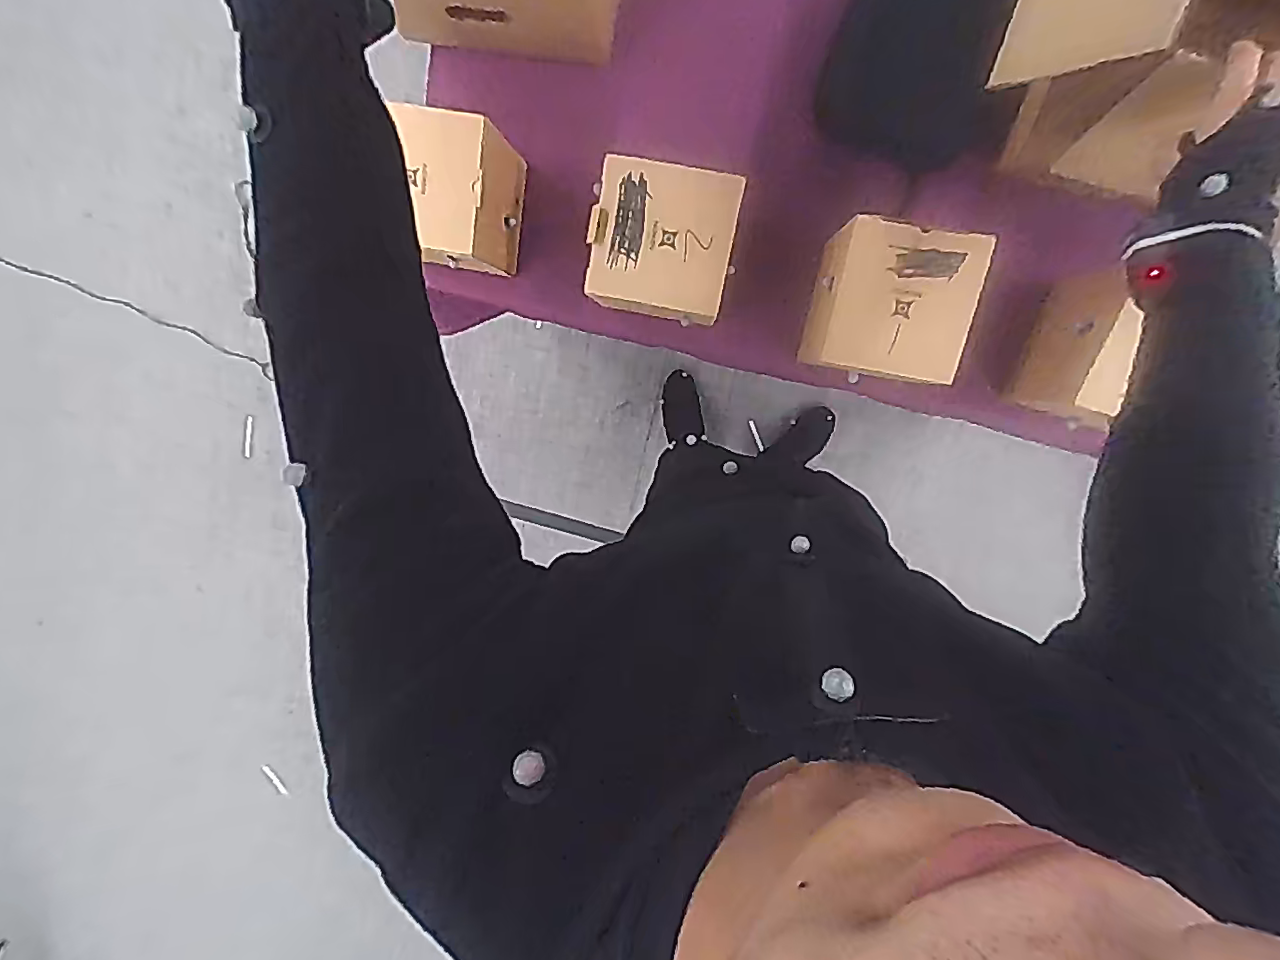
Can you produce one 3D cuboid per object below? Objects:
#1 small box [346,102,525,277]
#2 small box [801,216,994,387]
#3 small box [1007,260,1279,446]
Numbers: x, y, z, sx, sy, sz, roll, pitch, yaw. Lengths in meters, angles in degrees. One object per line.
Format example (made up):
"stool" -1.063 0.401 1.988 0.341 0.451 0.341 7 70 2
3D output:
"small box" -0.279 -0.394 0.762 0.179 0.176 0.168 10 103 2
"small box" 0.328 -0.231 0.731 0.168 0.176 0.179 12 104 4
"small box" 0.634 -0.162 0.712 0.168 0.176 0.179 19 103 3
